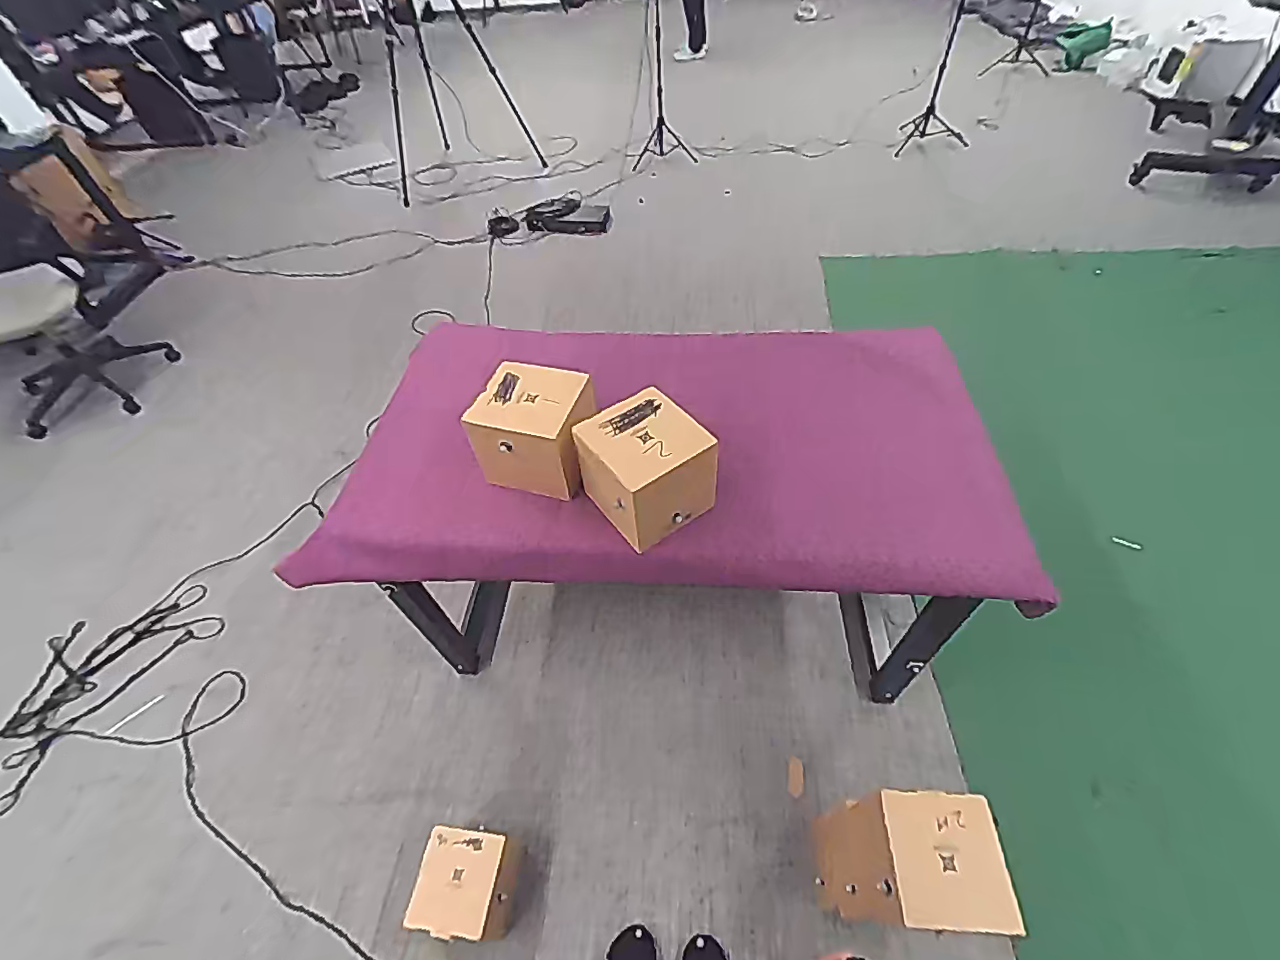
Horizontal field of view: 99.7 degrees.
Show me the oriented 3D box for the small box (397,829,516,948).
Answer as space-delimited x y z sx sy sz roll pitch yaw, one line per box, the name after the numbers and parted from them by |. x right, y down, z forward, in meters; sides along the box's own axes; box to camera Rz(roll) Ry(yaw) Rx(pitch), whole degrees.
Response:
-0.378 0.868 1.154 0.168 0.176 0.179 4 51 7 | small box

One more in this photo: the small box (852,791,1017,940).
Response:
0.458 0.620 0.875 0.168 0.176 0.179 1 51 4 | small box

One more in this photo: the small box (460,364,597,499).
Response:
-0.192 -0.085 0.990 0.179 0.176 0.168 12 52 13 | small box

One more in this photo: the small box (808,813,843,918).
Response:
0.458 0.818 1.135 0.179 0.176 0.168 2 51 6 | small box

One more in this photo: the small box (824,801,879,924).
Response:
0.454 0.717 1.009 0.168 0.176 0.179 0 52 4 | small box
